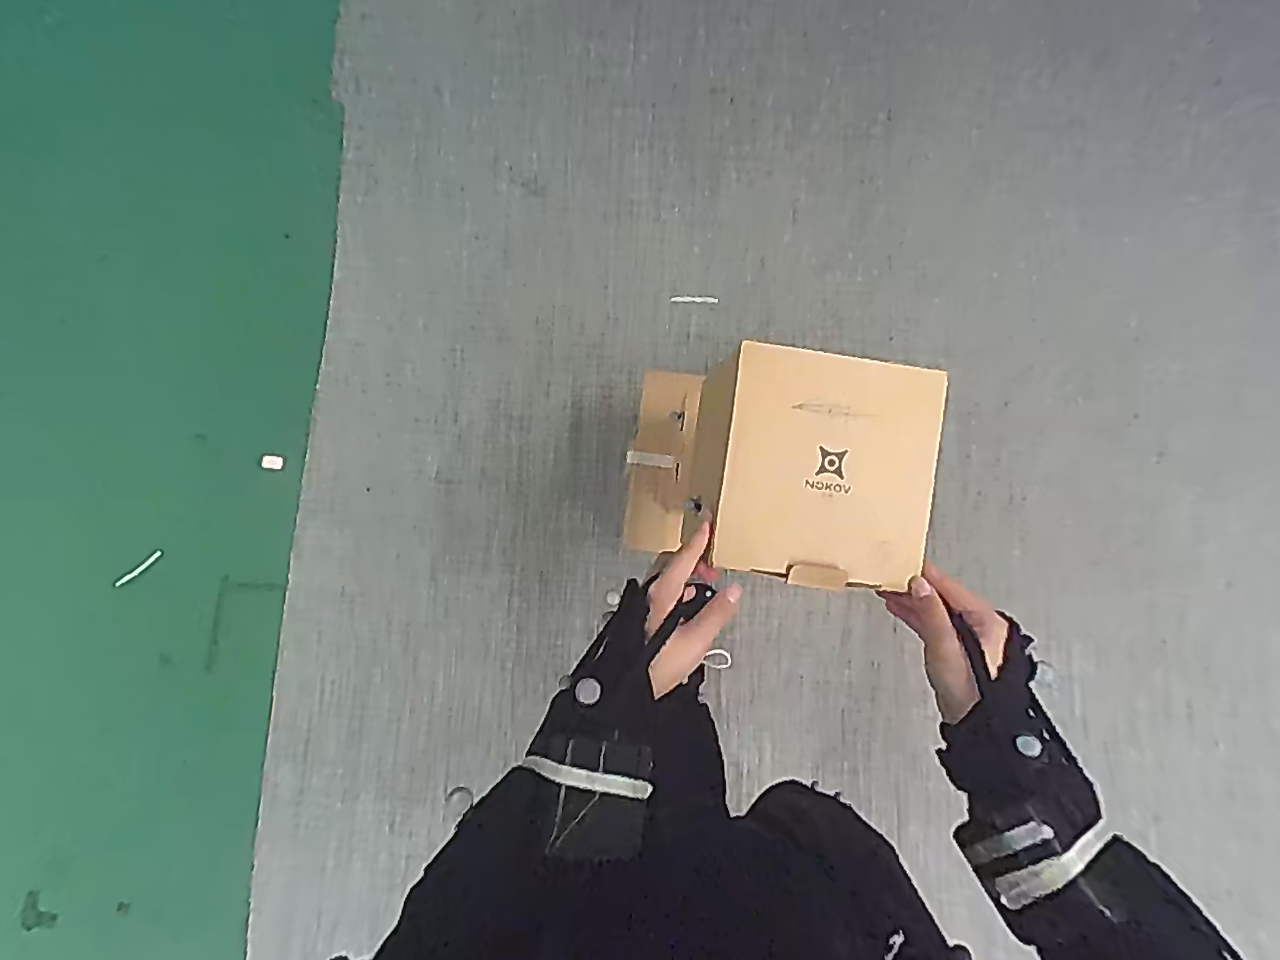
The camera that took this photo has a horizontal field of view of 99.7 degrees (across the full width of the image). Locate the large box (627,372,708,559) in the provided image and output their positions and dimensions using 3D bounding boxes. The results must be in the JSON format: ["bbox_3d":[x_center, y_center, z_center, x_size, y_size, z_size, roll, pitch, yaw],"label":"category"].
[{"bbox_3d":[0.189,0.003,1.056,0.408,0.320,0.320,7,84,1],"label":"large box"}]

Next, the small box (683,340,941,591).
[{"bbox_3d":[0.137,-0.010,0.493,0.168,0.176,0.179,7,88,-4],"label":"small box"}]
